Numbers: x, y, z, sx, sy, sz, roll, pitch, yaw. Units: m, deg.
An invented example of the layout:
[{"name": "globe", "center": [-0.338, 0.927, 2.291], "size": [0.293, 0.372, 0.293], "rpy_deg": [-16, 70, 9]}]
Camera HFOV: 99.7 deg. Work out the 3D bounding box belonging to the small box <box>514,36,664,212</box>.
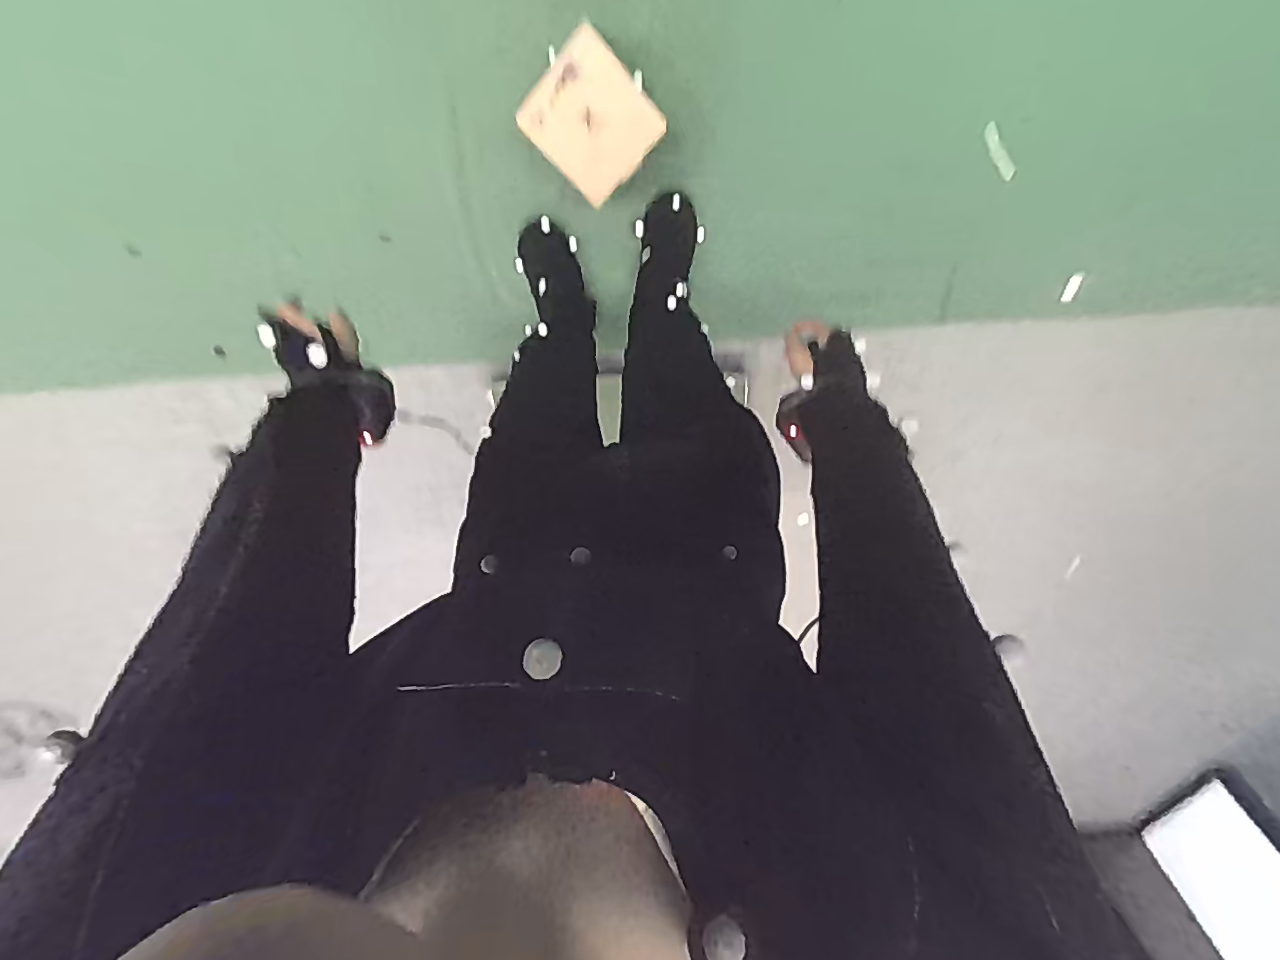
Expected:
[{"name": "small box", "center": [-0.081, -0.591, 0.898], "size": [0.168, 0.176, 0.179], "rpy_deg": [-39, 121, 23]}]
